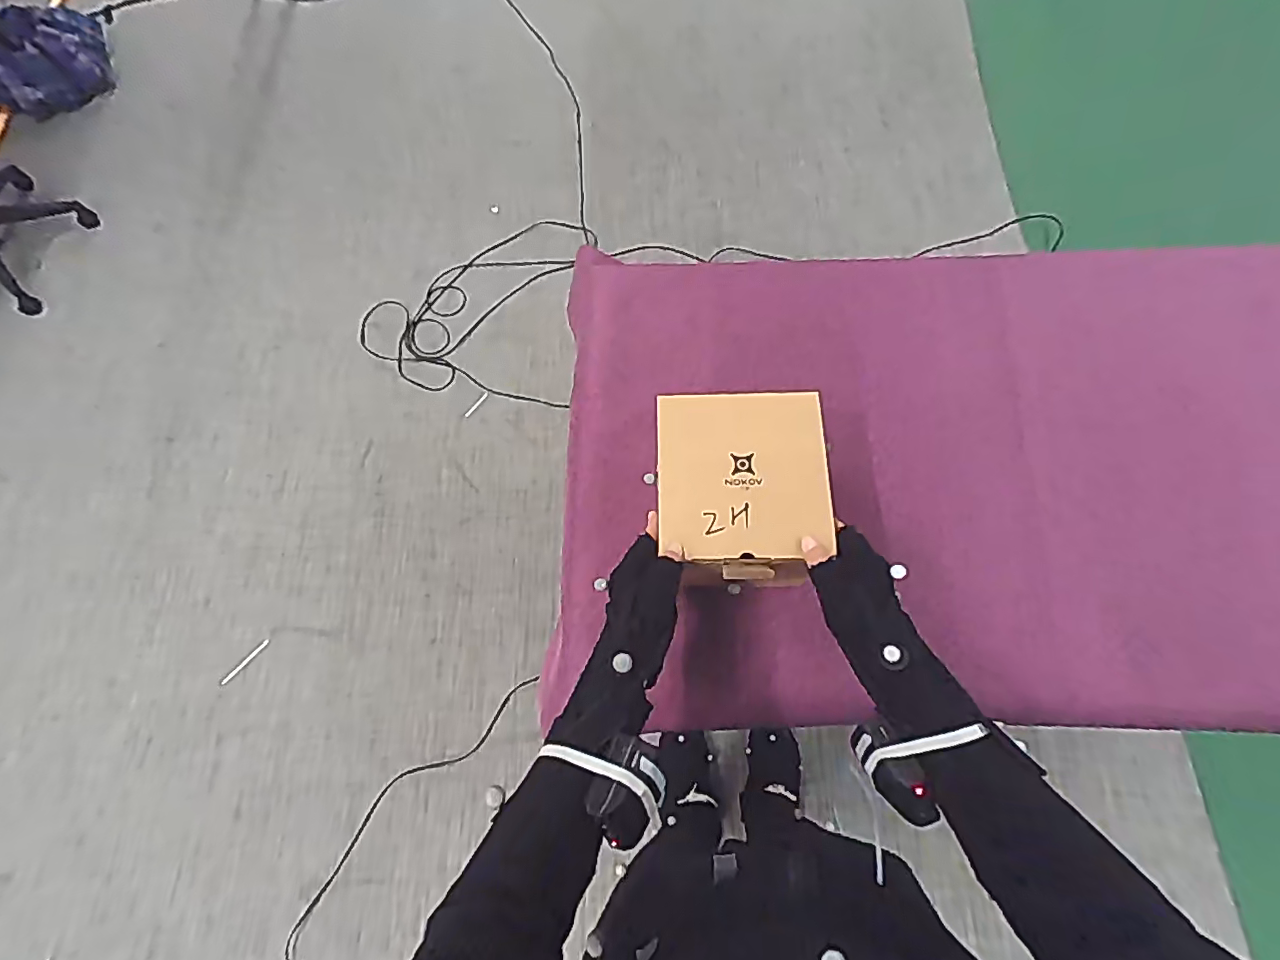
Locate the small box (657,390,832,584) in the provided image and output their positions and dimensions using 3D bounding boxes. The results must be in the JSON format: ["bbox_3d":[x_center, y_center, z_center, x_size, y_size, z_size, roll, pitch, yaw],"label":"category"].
[{"bbox_3d":[0.103,0.016,0.608,0.168,0.176,0.179,-1,71,4],"label":"small box"}]
